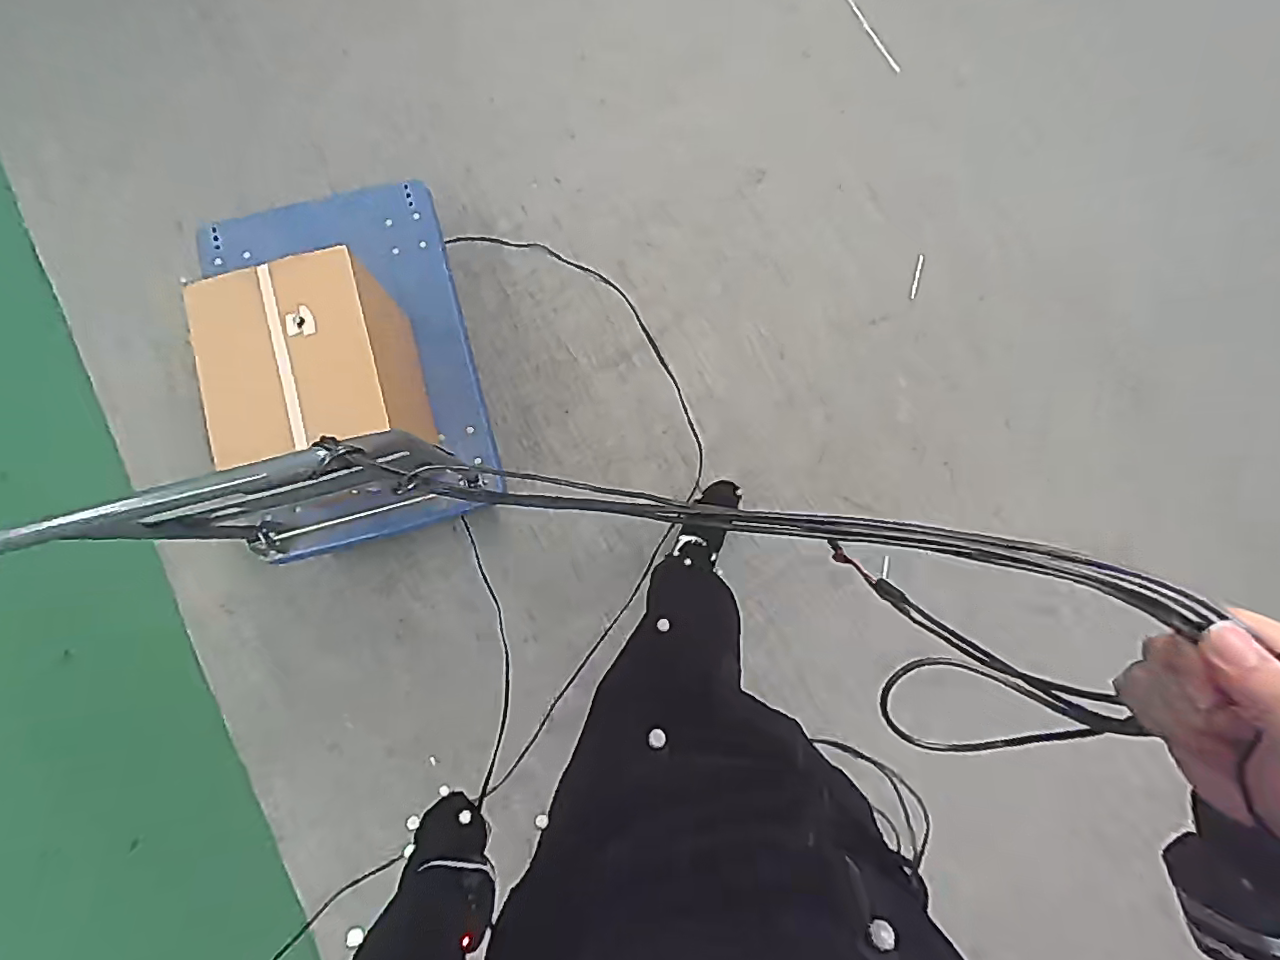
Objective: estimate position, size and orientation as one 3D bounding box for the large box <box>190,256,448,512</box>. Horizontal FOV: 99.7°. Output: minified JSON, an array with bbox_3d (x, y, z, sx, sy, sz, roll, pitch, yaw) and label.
[{"bbox_3d":[-0.650,-0.179,1.149,0.320,0.320,0.408,-17,81,-5],"label":"large box"}]
